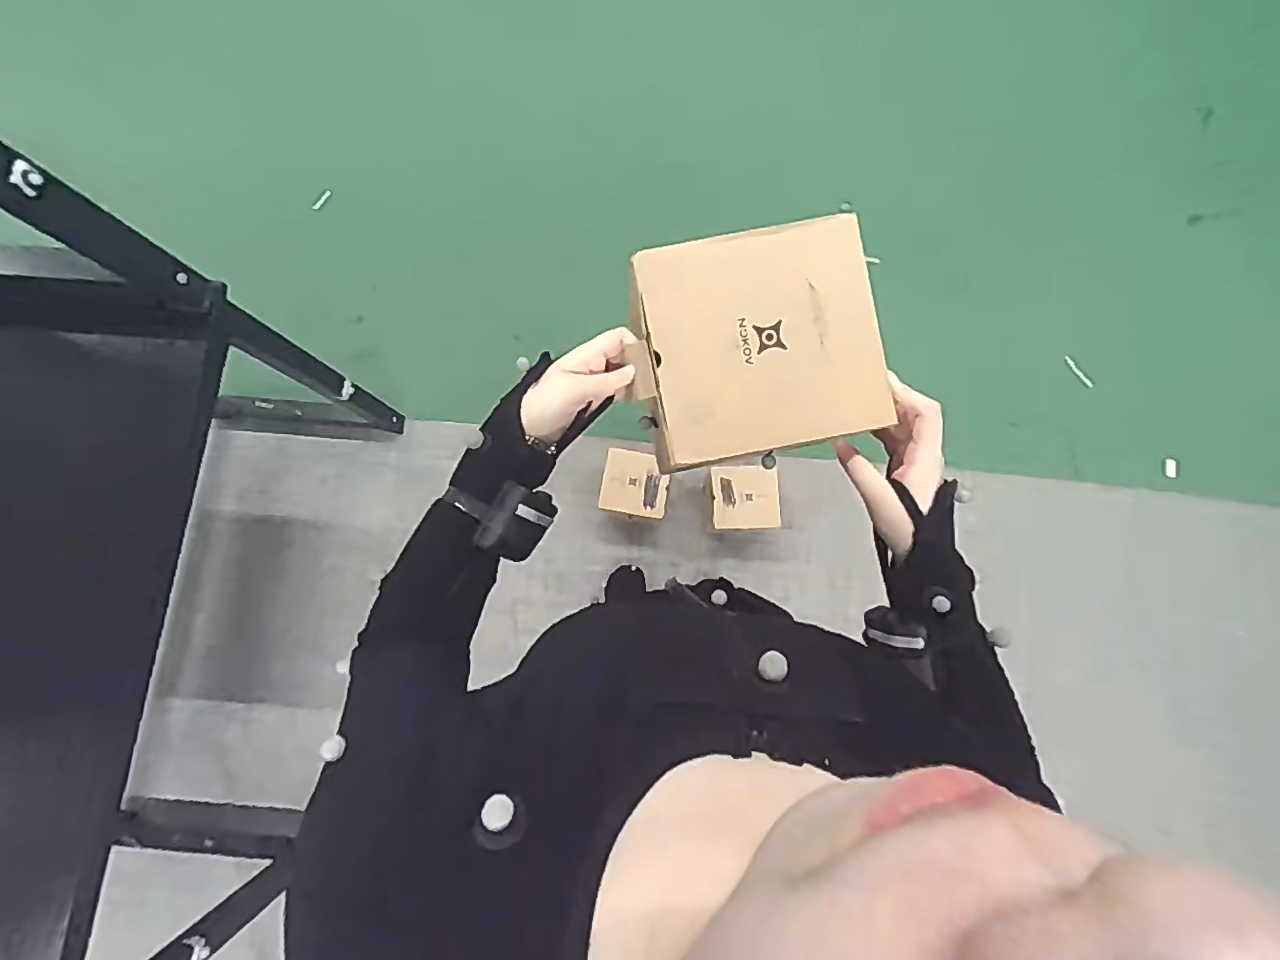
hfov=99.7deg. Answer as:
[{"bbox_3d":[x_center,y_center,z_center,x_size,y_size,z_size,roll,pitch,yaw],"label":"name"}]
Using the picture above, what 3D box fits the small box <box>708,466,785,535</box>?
[{"bbox_3d":[0.278,0.060,1.456,0.179,0.176,0.168,-1,81,0],"label":"small box"}]
